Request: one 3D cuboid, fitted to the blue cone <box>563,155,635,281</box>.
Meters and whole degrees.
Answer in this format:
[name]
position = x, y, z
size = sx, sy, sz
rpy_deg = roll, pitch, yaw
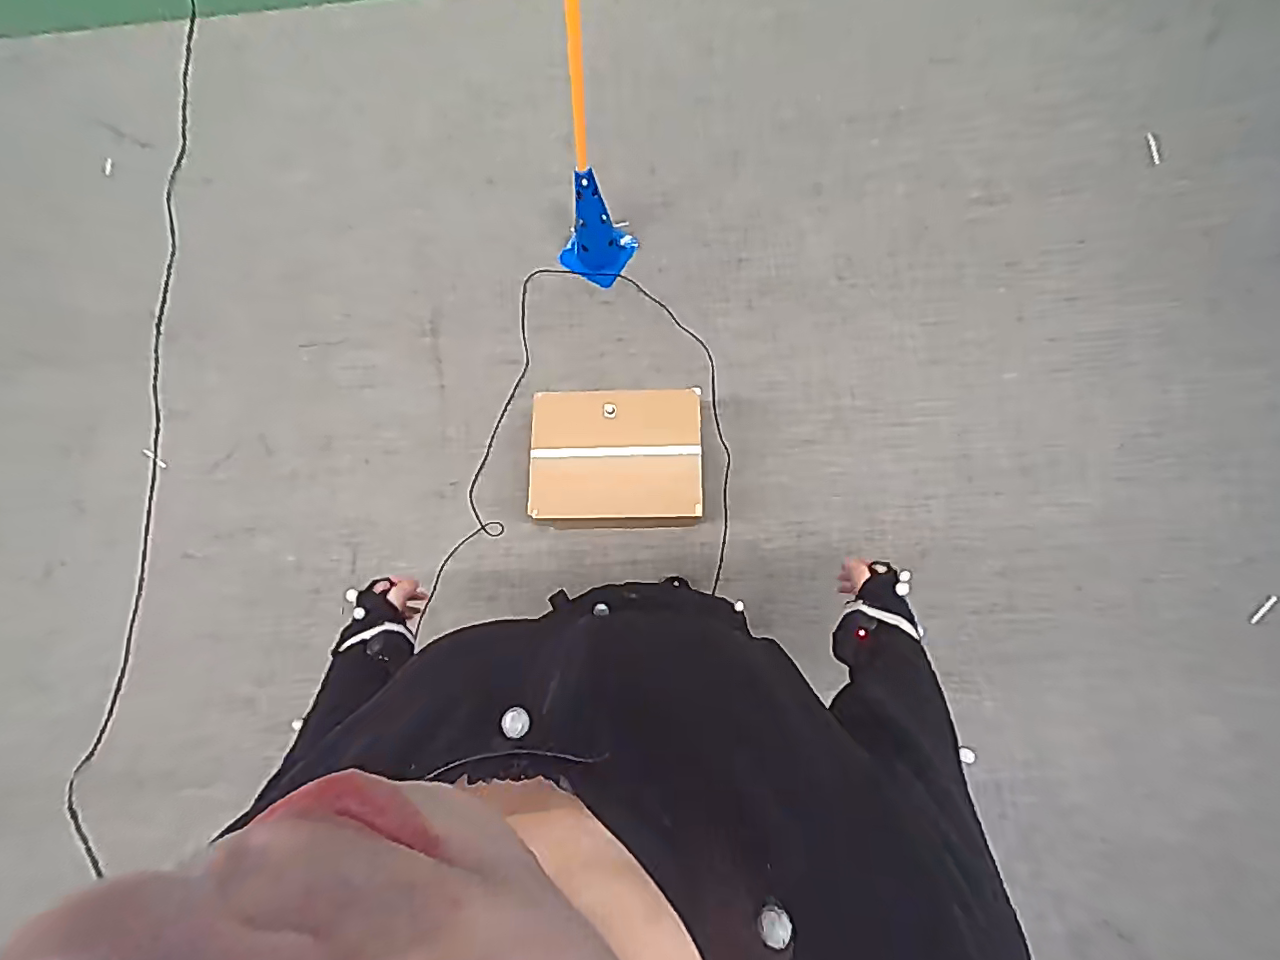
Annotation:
[blue cone]
position = -0.134, -0.763, 1.533
size = 0.192, 0.380, 0.193
rpy_deg = 29, 81, 7
